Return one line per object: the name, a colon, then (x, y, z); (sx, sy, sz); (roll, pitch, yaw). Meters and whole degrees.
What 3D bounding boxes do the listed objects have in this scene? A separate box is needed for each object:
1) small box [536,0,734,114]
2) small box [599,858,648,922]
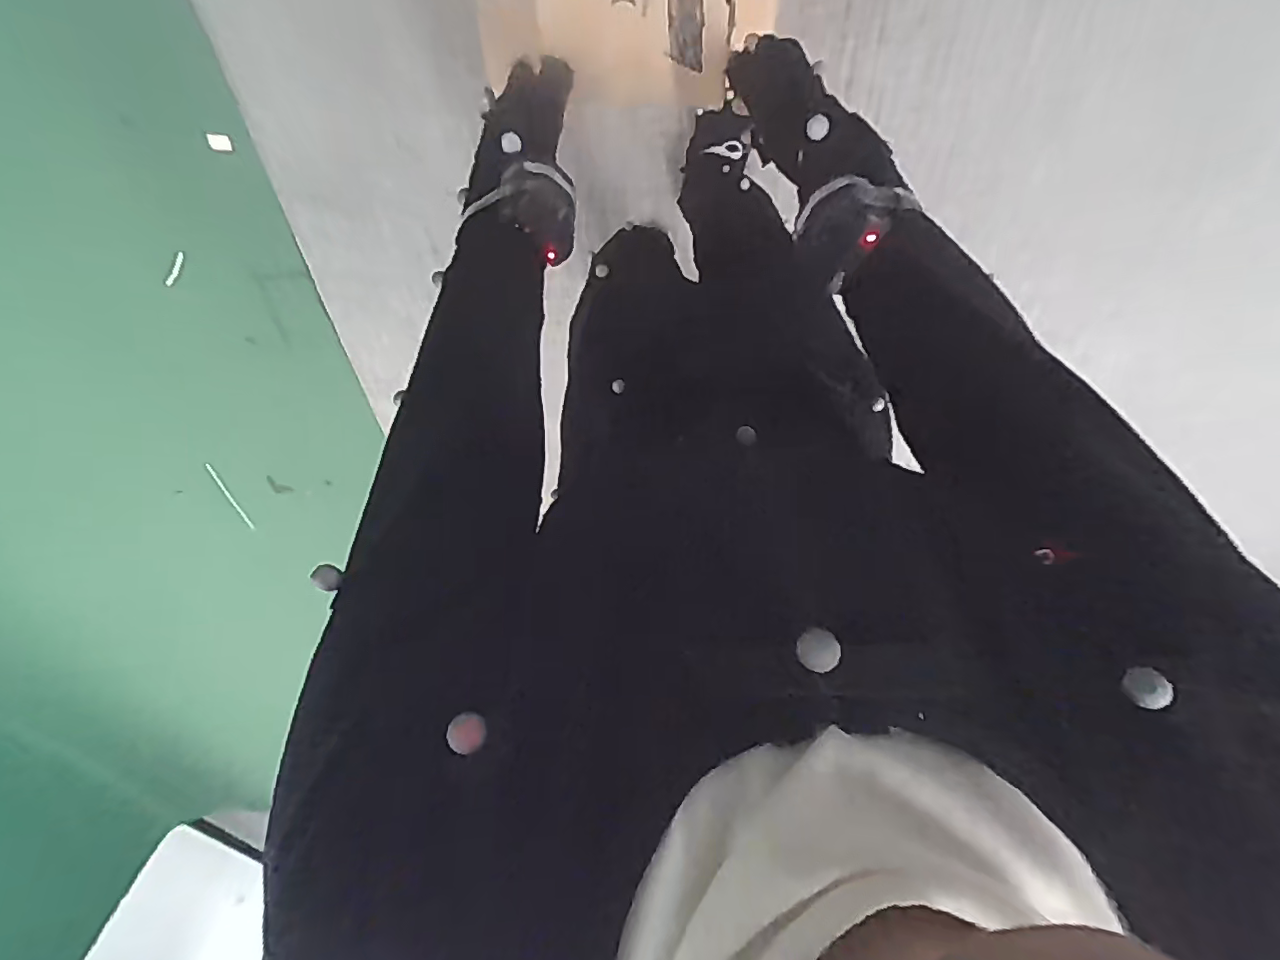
small box: (0.001, -0.475, 0.523); (0.179, 0.176, 0.168); (5, 135, 3)
small box: (-0.061, 1.584, 2.092); (0.168, 0.176, 0.179); (-1, 133, 7)
